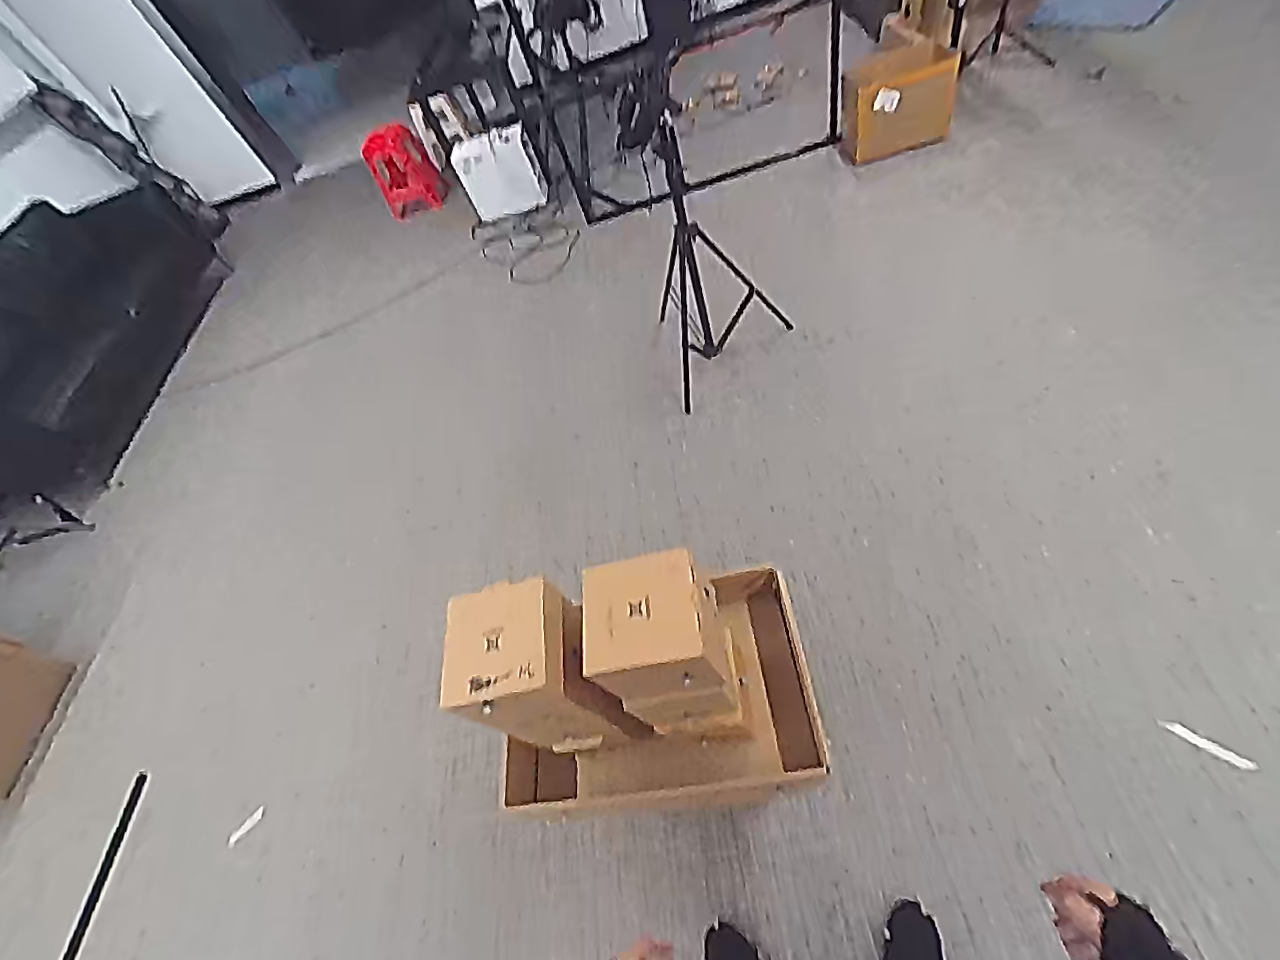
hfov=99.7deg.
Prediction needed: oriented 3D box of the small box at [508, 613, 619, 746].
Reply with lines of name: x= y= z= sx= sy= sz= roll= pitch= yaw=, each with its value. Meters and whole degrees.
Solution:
small box: x=-0.145 y=0.372 z=0.999 sx=0.168 sy=0.176 sz=0.179 roll=-15 pitch=53 yaw=9

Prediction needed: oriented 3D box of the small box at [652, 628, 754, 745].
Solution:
small box: x=0.124 y=0.417 z=1.082 sx=0.168 sy=0.176 sz=0.179 roll=-13 pitch=54 yaw=14

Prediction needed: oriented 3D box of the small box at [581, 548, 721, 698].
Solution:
small box: x=0.022 y=0.227 z=0.835 sx=0.179 sy=0.176 sz=0.168 roll=-14 pitch=53 yaw=14

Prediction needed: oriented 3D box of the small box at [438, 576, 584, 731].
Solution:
small box: x=-0.196 y=0.282 z=0.869 sx=0.168 sy=0.176 sz=0.179 roll=-16 pitch=52 yaw=10
